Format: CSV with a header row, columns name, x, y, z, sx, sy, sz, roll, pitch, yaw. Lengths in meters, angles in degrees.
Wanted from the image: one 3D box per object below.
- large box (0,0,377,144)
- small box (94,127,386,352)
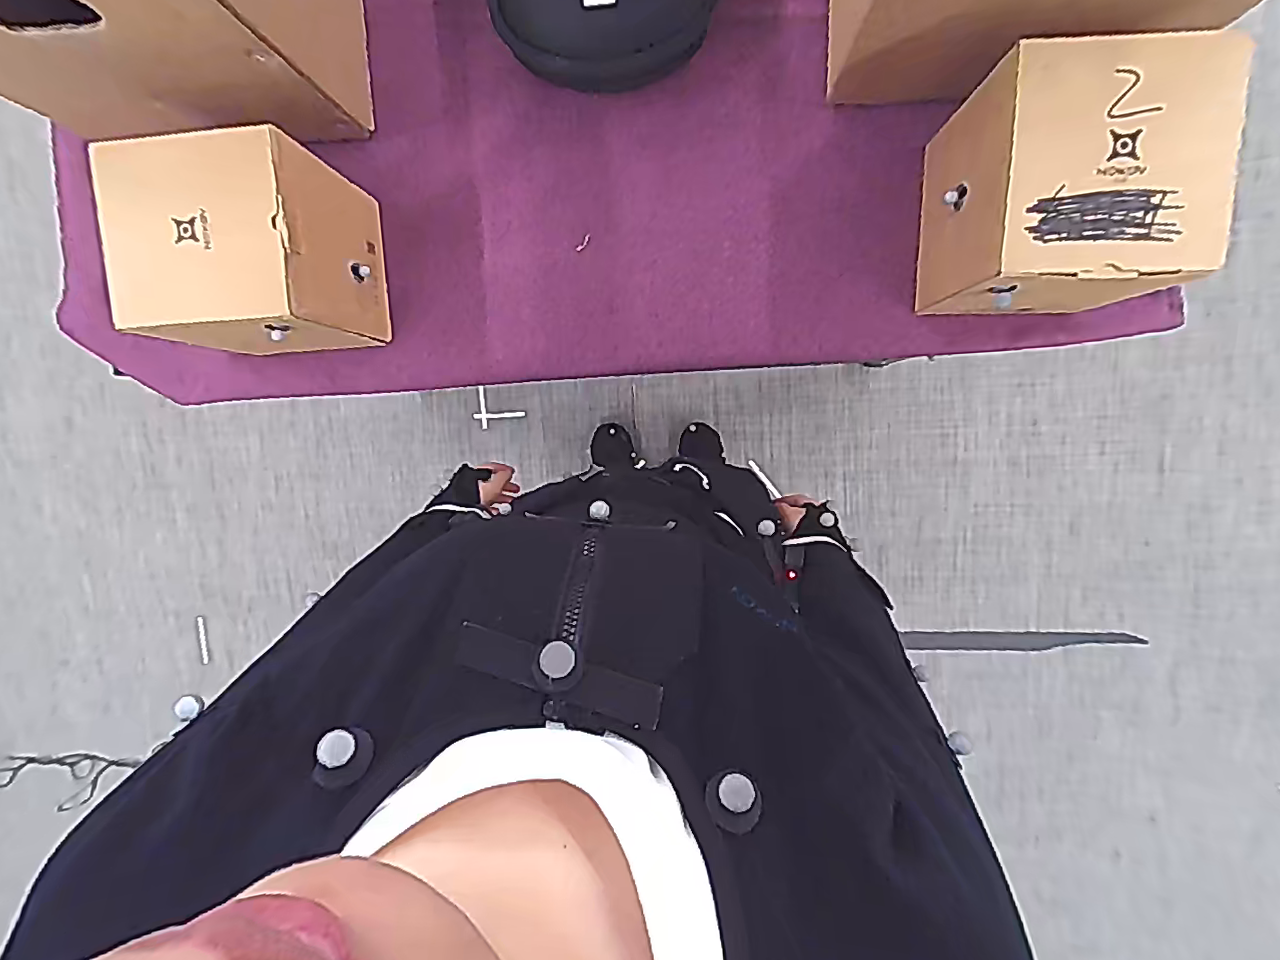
name,x,y,z,sx,sy,sz,roll,pitch,yaw
large box,-0.470,-0.567,0.464,0.320,0.320,0.408,-2,99,4
small box,-0.400,-0.234,0.571,0.179,0.176,0.168,-3,95,4
